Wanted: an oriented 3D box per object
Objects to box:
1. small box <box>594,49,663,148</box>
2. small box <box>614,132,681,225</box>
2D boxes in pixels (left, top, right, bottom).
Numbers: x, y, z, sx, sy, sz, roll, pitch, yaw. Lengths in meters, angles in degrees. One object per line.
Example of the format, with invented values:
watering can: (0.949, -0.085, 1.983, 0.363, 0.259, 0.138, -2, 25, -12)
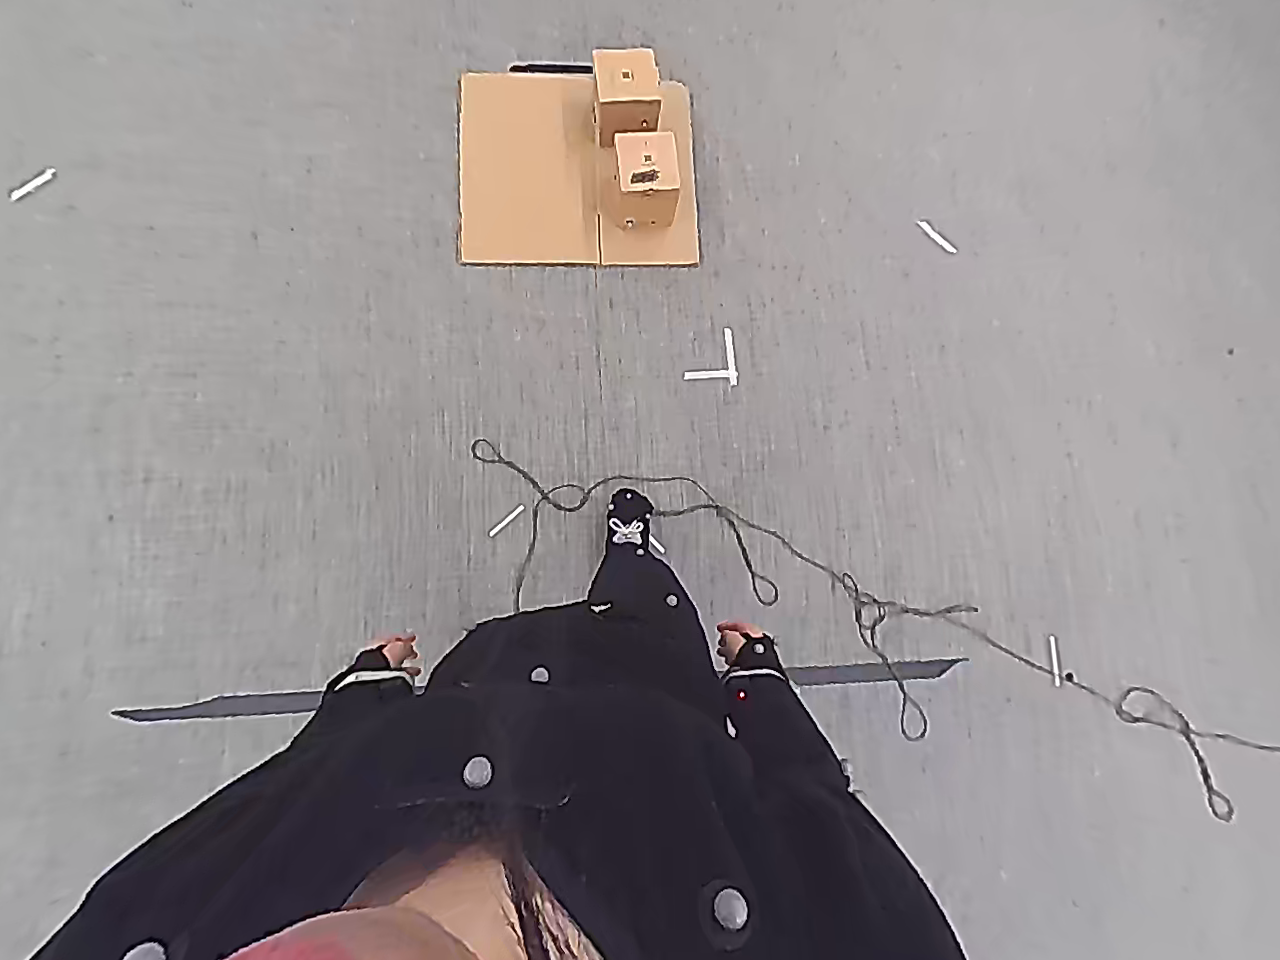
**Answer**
small box: (-0.038, -1.097, 1.565, 0.179, 0.176, 0.168, -8, 82, -5)
small box: (0.017, -0.845, 1.533, 0.168, 0.176, 0.179, -5, 83, -6)
